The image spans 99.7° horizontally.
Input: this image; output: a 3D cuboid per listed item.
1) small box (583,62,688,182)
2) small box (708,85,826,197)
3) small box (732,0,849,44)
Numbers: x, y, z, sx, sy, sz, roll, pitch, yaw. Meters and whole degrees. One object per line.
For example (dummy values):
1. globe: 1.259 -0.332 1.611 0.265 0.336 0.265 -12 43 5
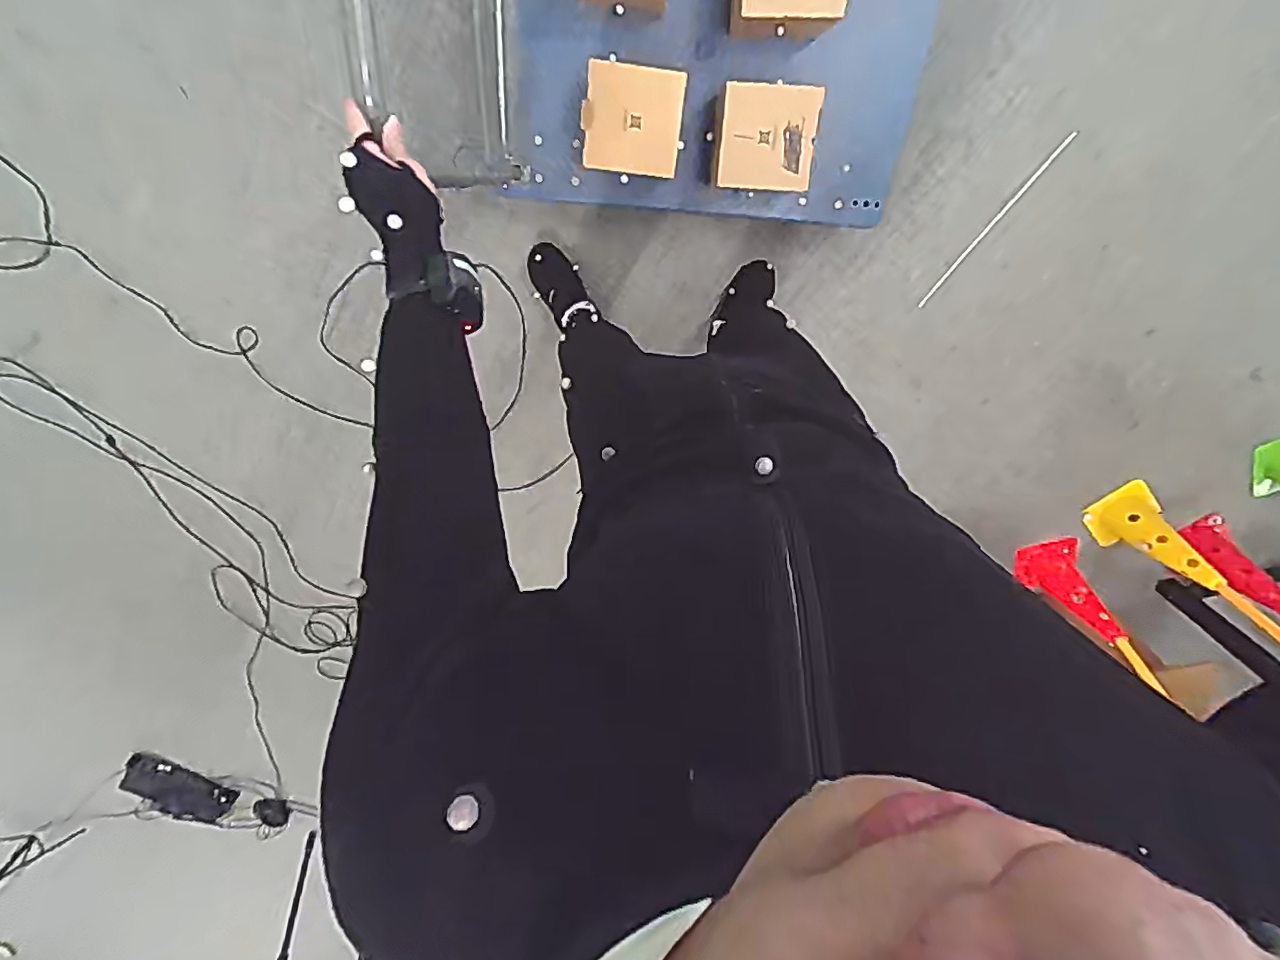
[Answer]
1. small box: -0.009 -0.682 1.046 0.179 0.176 0.168 7 119 -2
2. small box: 0.237 -0.654 1.056 0.179 0.176 0.168 4 118 -1
3. small box: 0.260 -0.876 0.936 0.179 0.176 0.168 1 119 0
